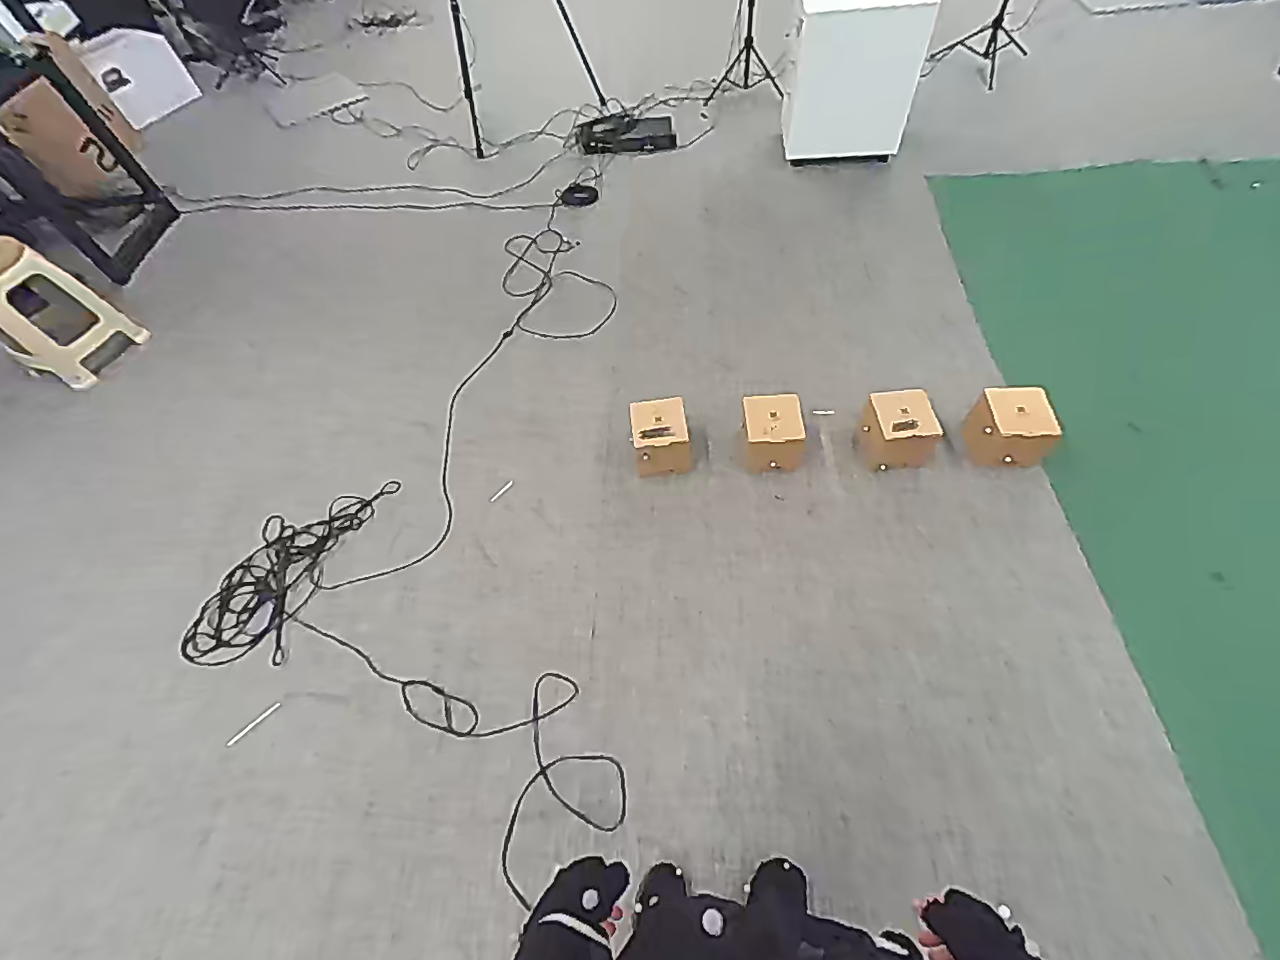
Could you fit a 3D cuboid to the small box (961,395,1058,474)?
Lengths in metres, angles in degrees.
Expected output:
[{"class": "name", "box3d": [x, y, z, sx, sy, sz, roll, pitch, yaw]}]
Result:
[{"class": "small box", "box3d": [1.104, -0.137, 1.633, 0.168, 0.176, 0.179, 0, 57, 6]}]

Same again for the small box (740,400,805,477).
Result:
[{"class": "small box", "box3d": [0.407, -0.128, 1.686, 0.168, 0.176, 0.179, -3, 57, 5]}]

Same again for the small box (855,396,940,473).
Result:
[{"class": "small box", "box3d": [0.781, -0.133, 1.659, 0.168, 0.176, 0.179, -4, 56, 2]}]
